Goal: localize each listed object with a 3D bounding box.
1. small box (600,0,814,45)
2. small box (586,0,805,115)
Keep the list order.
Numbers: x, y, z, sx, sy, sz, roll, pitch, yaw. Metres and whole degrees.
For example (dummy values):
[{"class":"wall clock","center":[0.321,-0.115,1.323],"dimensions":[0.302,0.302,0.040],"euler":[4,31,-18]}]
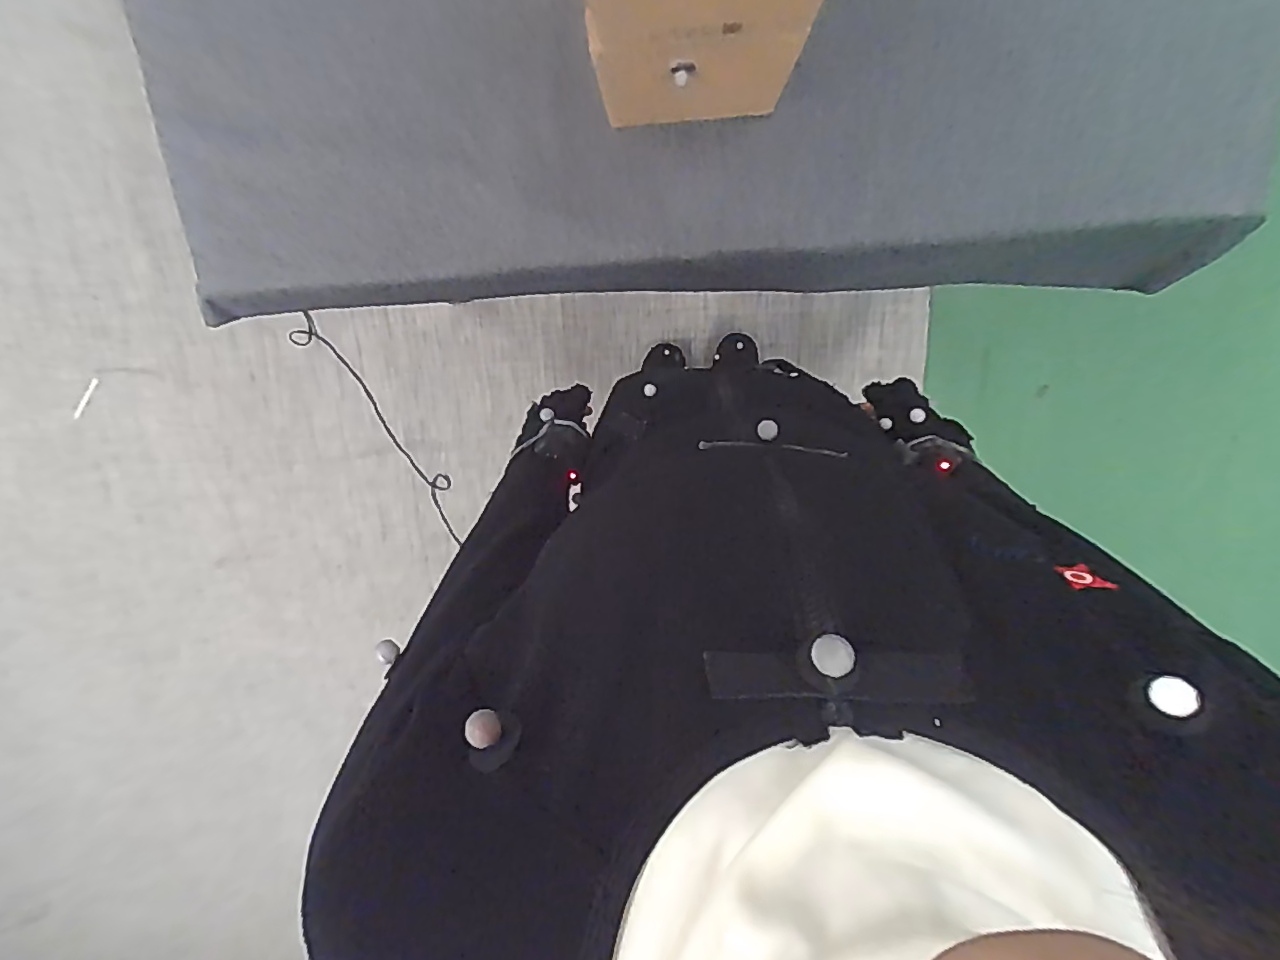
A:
[{"class":"small box","center":[0.043,-0.417,0.333],"dimensions":[0.168,0.176,0.179],"euler":[-4,106,3]},{"class":"small box","center":[0.046,-0.456,0.489],"dimensions":[0.179,0.176,0.168],"euler":[-2,105,4]}]
